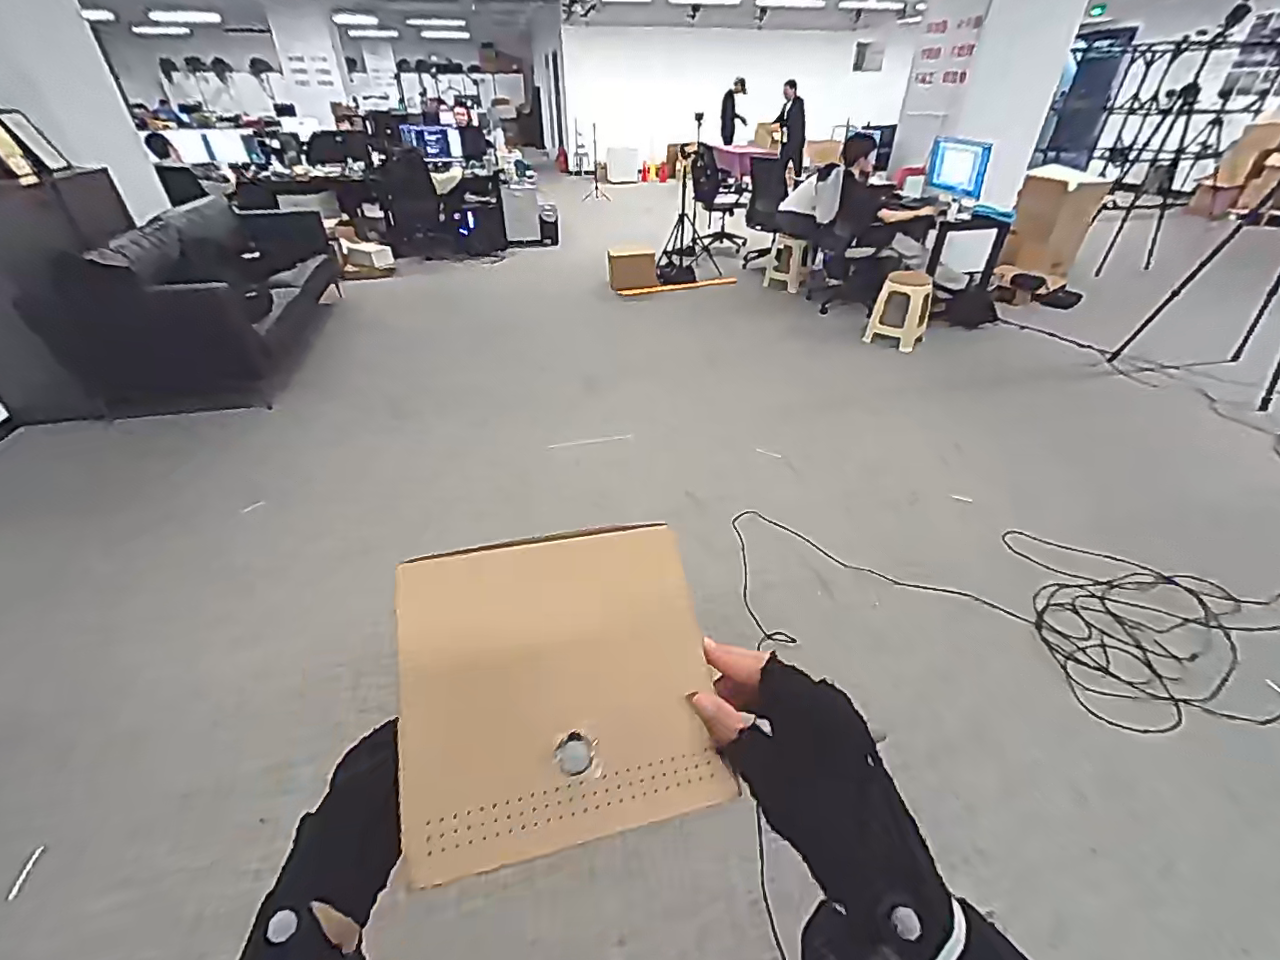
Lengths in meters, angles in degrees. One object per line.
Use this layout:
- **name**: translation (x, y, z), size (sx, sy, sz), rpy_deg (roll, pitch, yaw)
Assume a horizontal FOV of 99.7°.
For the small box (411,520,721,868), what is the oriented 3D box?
- **small box**: translation (-0.054, 0.145, 0.388), size (0.179, 0.168, 0.176), rpy_deg (-7, 64, -15)
